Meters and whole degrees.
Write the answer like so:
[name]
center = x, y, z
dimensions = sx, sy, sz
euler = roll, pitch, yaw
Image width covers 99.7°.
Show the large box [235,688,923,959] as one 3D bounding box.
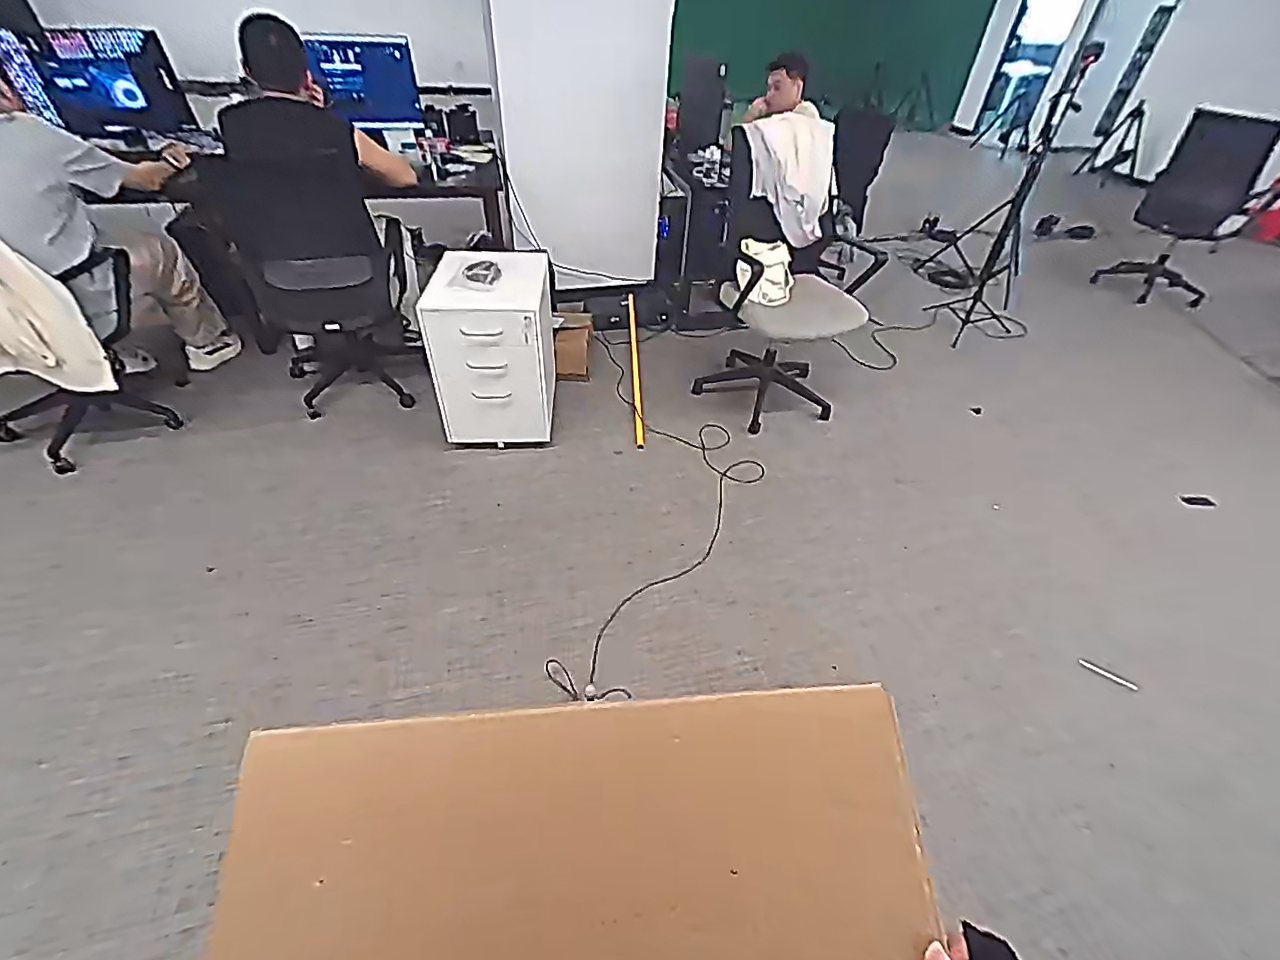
[large box]
center = -0.032, 0.352, 0.442
dimensions = 0.408, 0.320, 0.320
euler = -3, 68, -2
